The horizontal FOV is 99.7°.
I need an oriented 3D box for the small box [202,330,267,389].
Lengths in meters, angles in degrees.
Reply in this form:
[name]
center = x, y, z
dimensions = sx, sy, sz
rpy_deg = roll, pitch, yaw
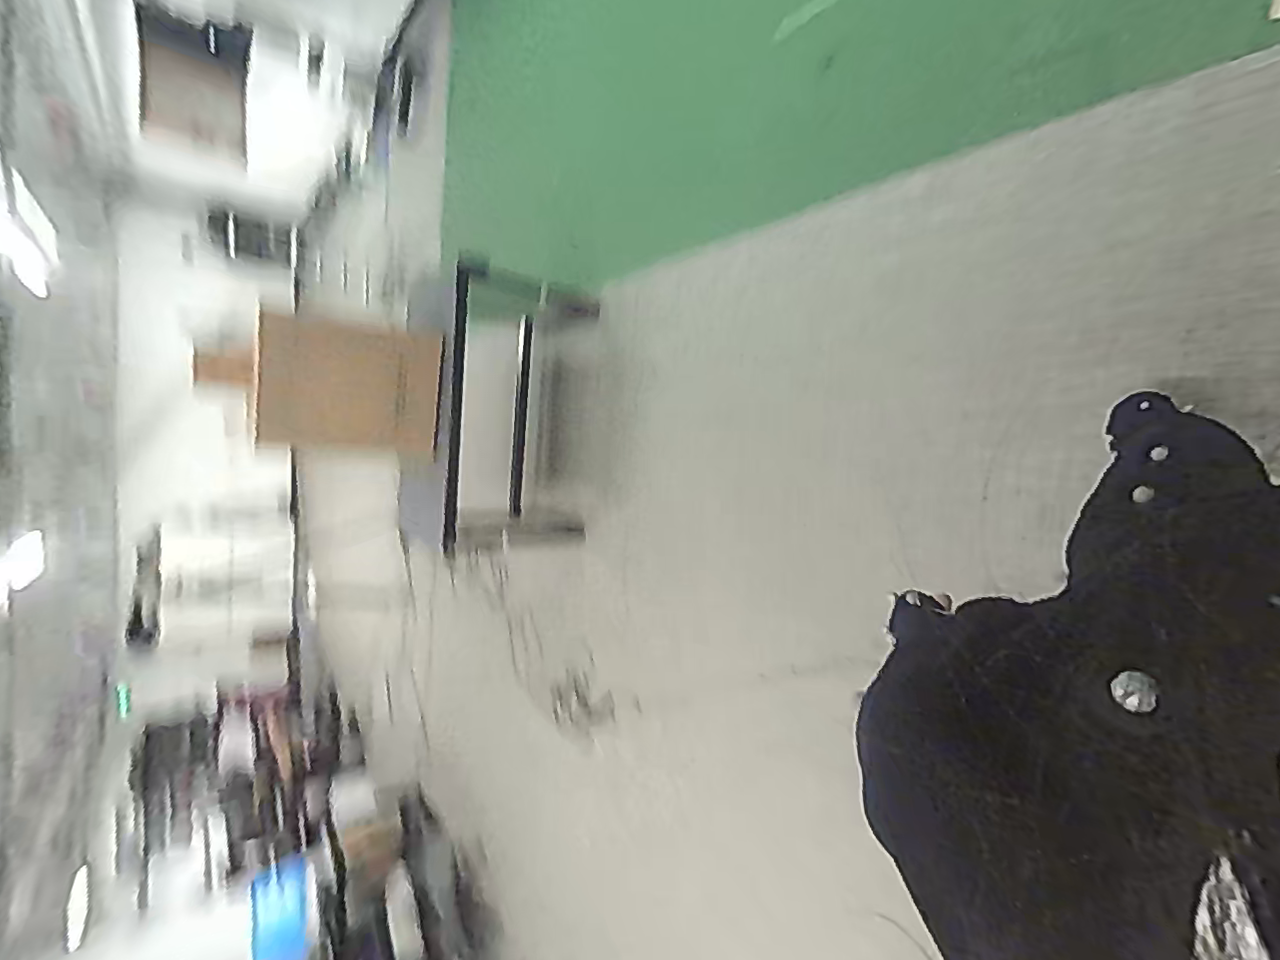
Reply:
[small box]
center = -1.423, -0.421, 1.897
dimensions = 0.168, 0.176, 0.179
rpy_deg = 16, 102, 47
